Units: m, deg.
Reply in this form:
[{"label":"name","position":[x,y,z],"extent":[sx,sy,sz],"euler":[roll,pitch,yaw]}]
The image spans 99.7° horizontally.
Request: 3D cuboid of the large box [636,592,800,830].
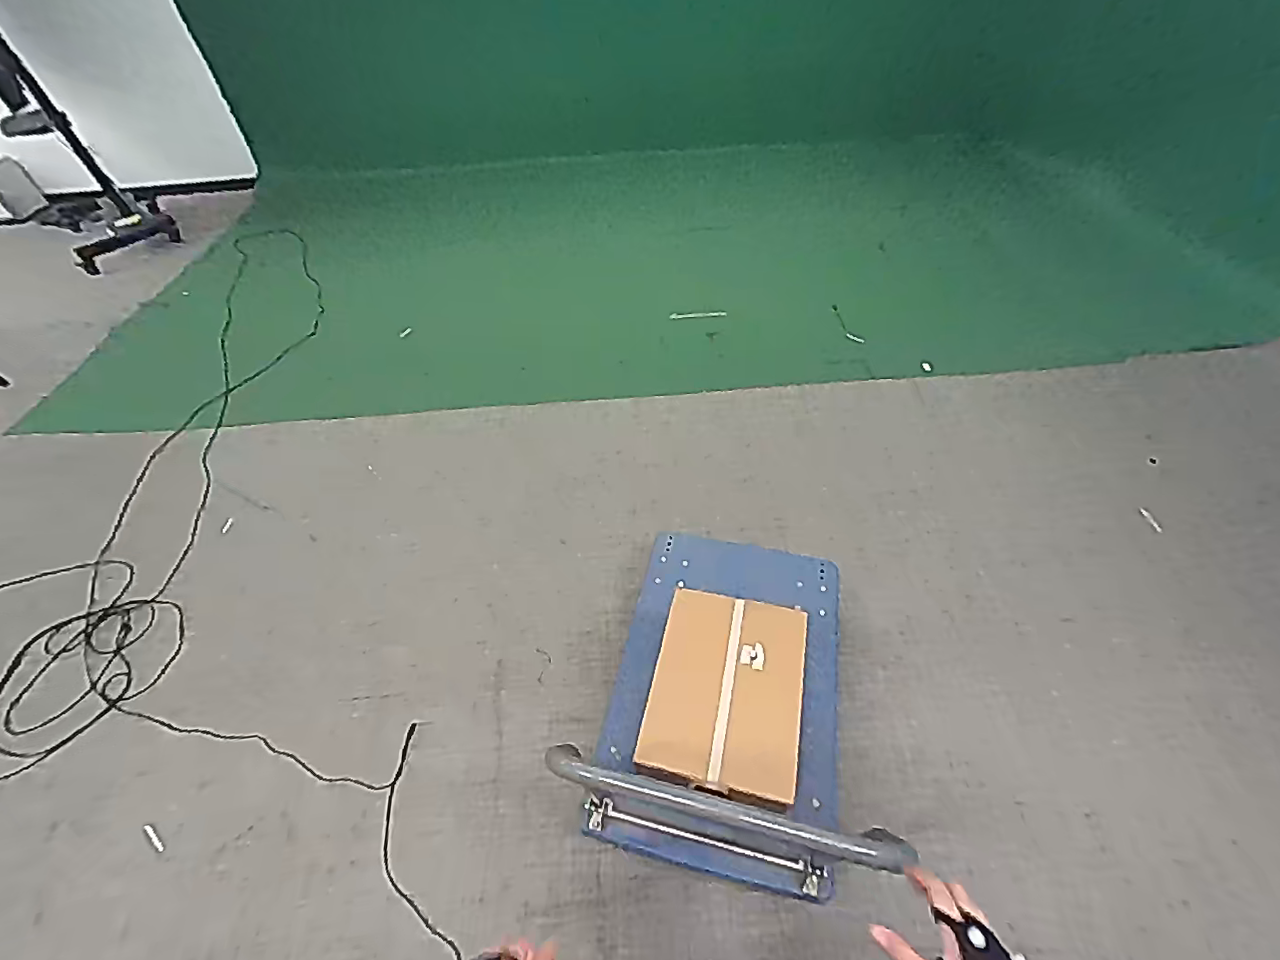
[{"label":"large box","position":[0.191,0.539,1.279],"extent":[0.320,0.320,0.408],"euler":[9,48,11]}]
